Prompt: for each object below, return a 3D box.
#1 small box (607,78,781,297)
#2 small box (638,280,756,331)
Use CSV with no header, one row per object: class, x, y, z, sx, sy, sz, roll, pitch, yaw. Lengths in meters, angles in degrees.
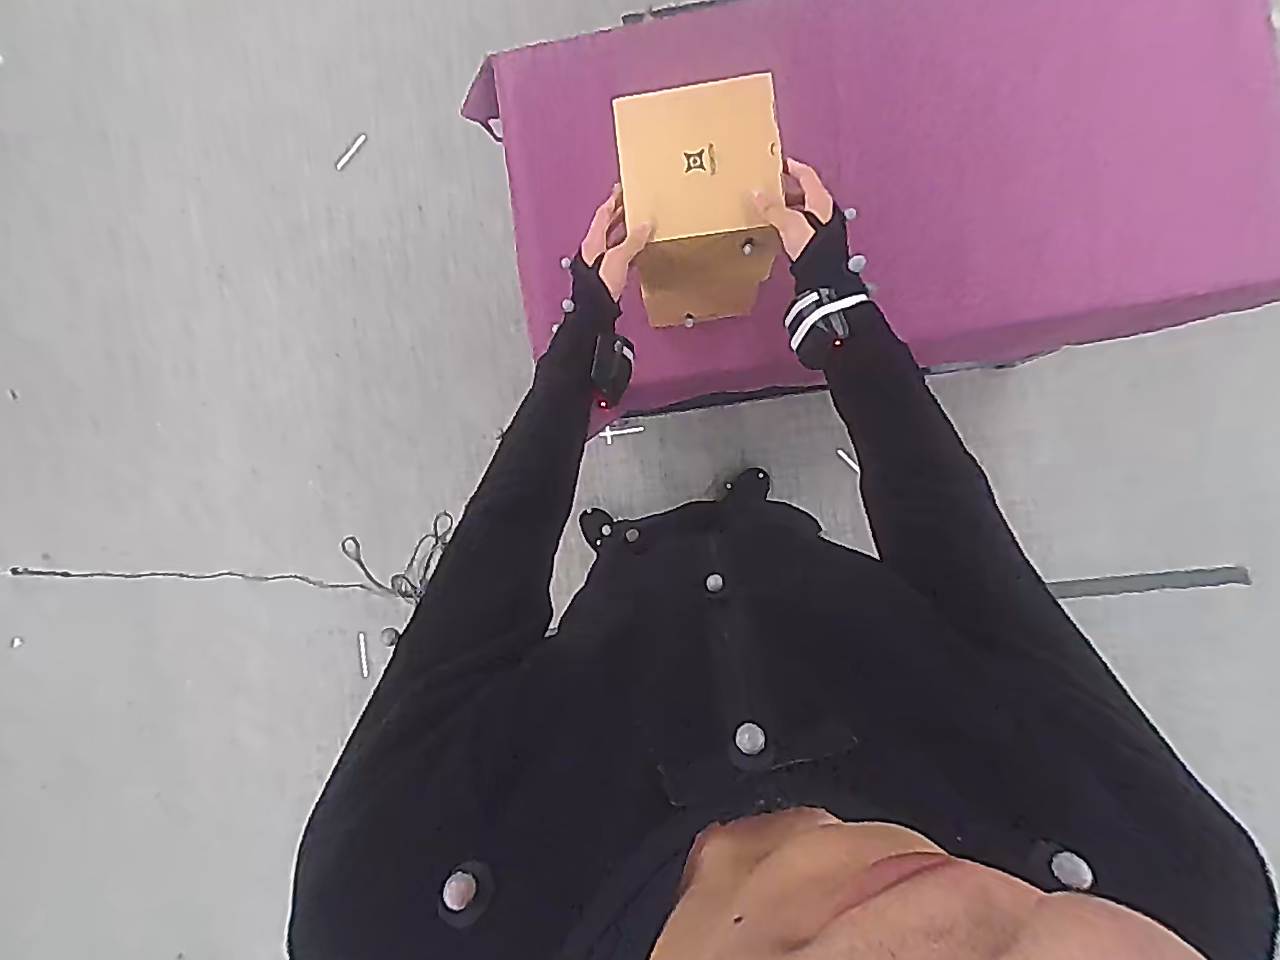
small box,0.065,-0.337,0.660,0.179,0.176,0.168,-6,90,5
small box,0.077,-0.344,0.822,0.168,0.176,0.179,-7,90,6
